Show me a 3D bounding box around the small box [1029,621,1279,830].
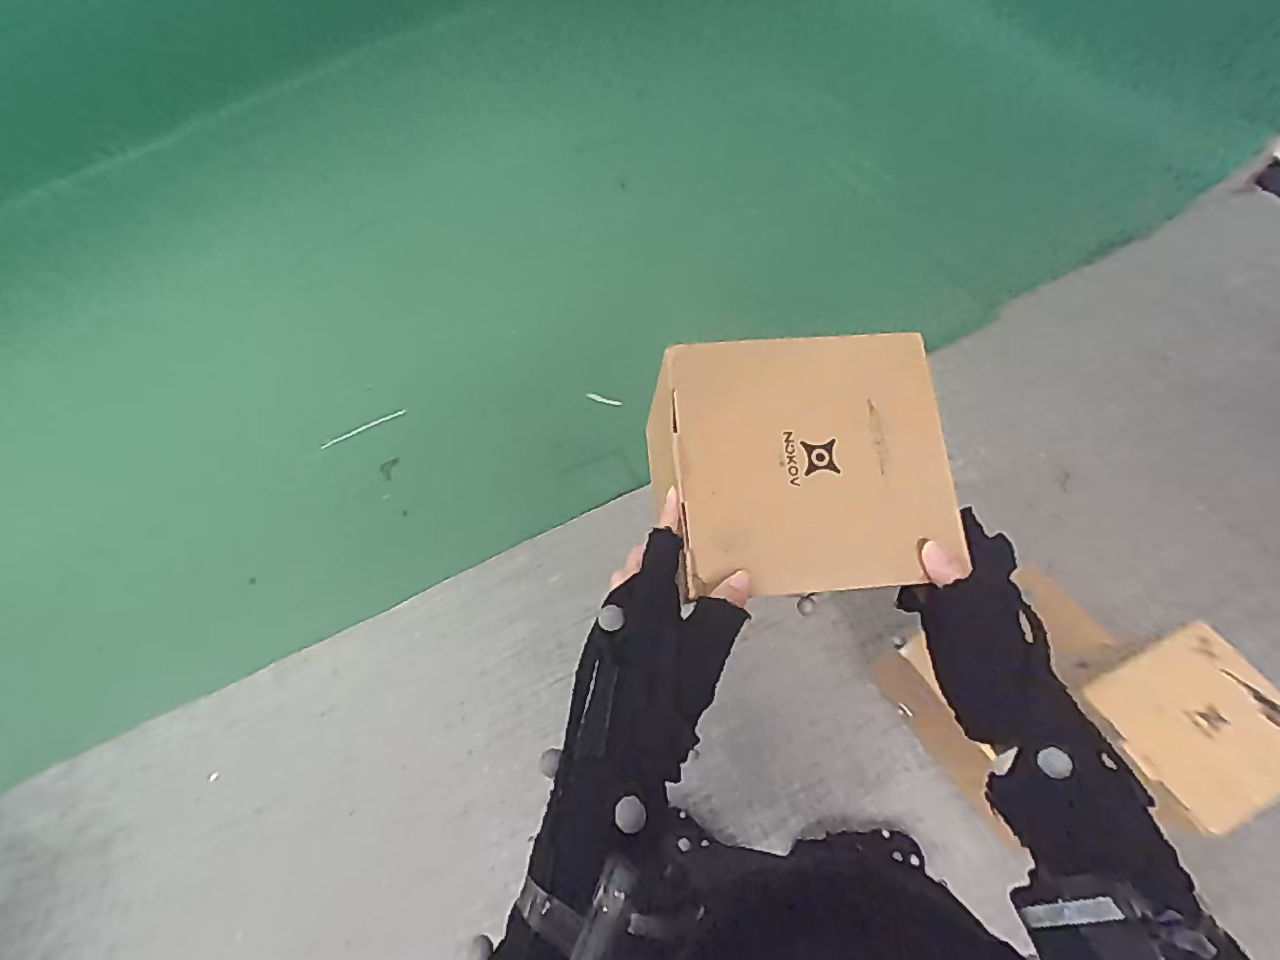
[{"bbox_3d":[0.636,0.304,0.679,0.179,0.176,0.168,-28,63,-3],"label":"small box"}]
